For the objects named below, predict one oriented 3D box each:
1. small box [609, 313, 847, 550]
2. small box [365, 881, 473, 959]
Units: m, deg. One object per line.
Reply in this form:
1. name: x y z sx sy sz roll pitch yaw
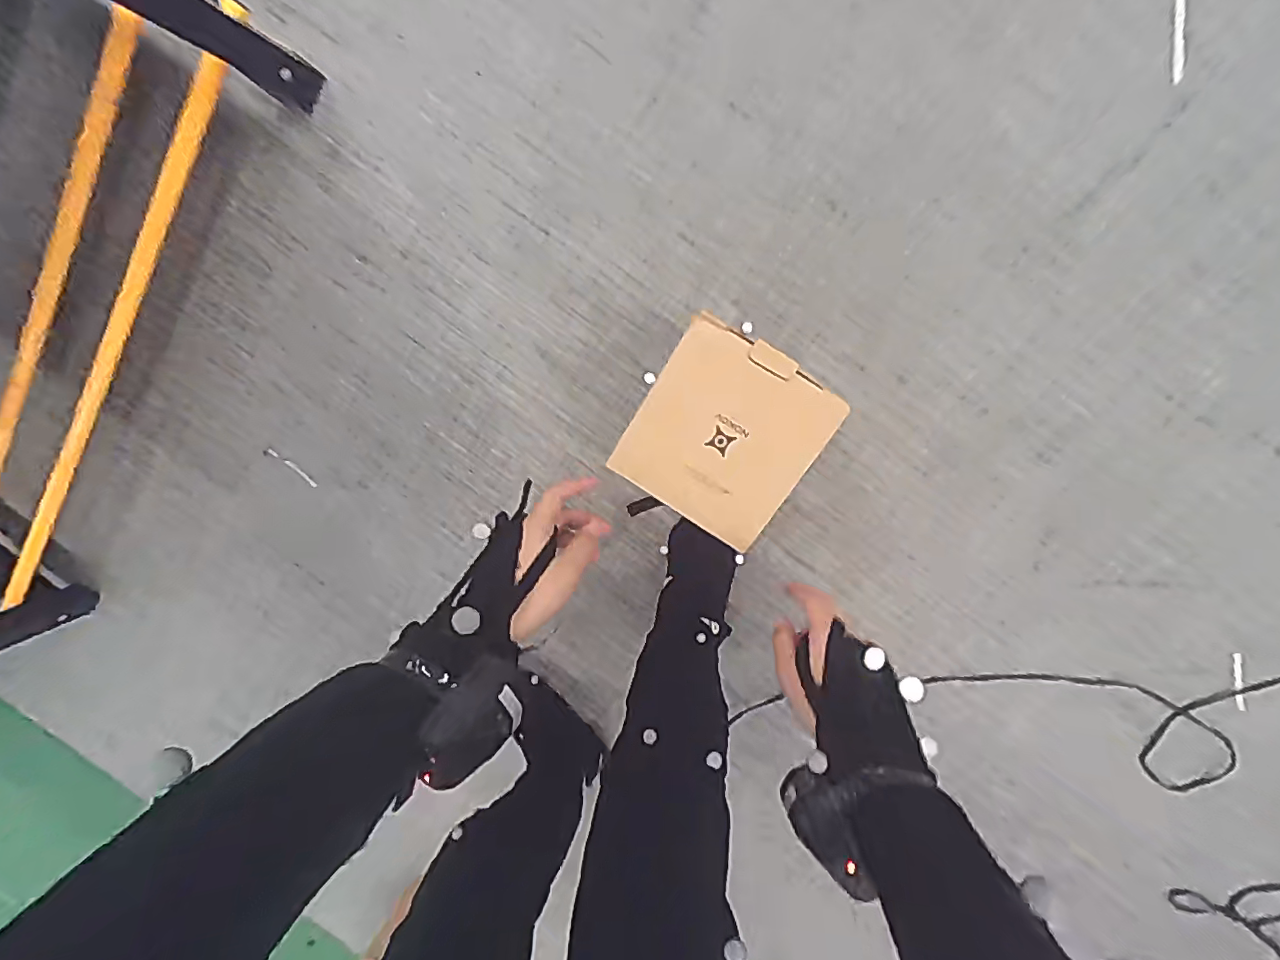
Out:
1. small box: 0.092 -0.061 0.593 0.168 0.176 0.179 33 108 1
2. small box: -0.475 0.994 1.127 0.168 0.176 0.179 28 108 2
